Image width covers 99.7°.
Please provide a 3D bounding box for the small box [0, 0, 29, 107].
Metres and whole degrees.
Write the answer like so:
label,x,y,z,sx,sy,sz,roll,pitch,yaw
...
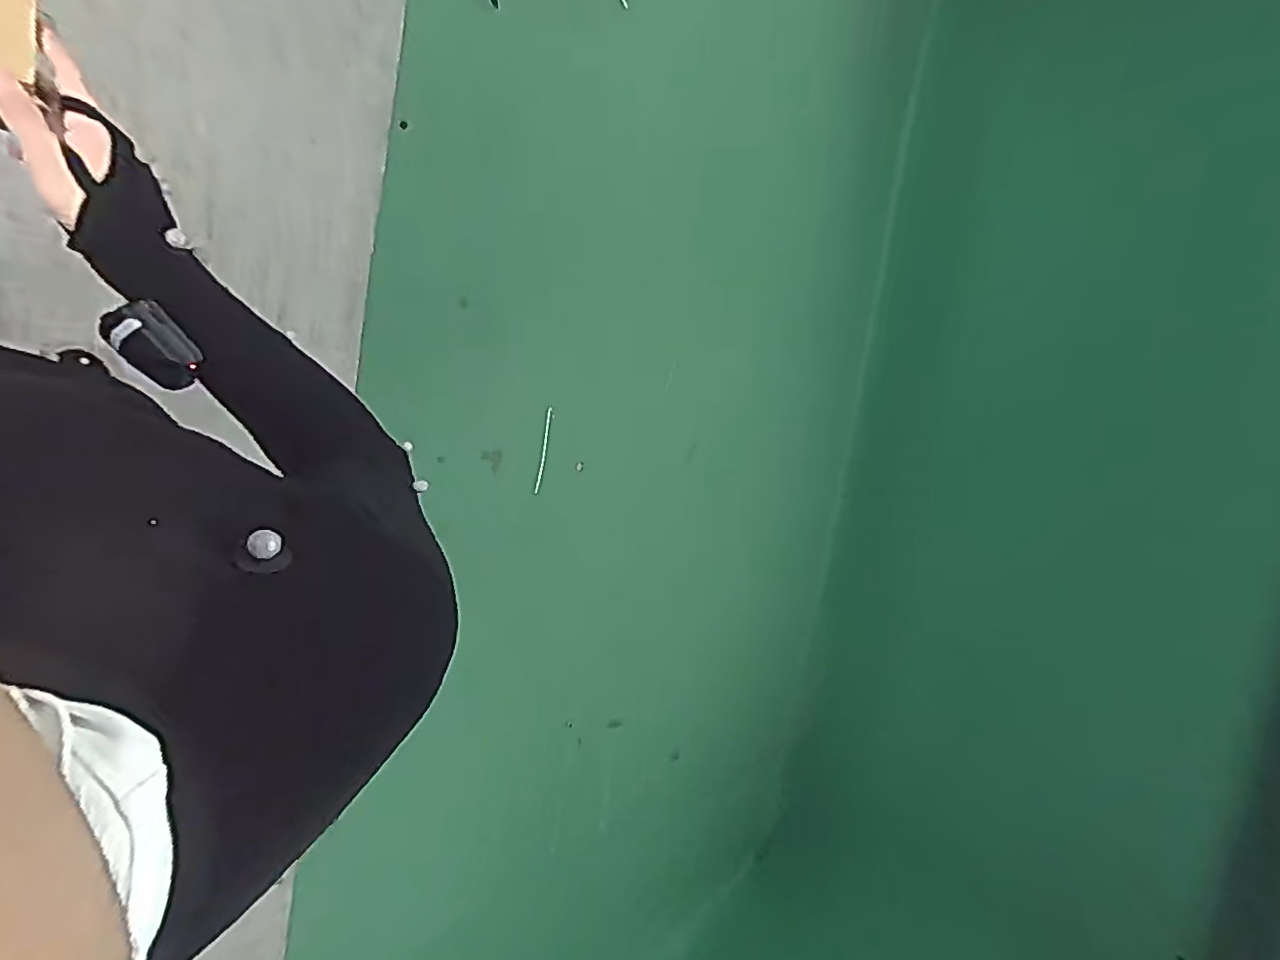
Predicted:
label,x,y,z,sx,sy,sz,roll,pitch,yaw
small box,-0.540,-0.396,0.368,0.168,0.176,0.179,-1,103,-50
